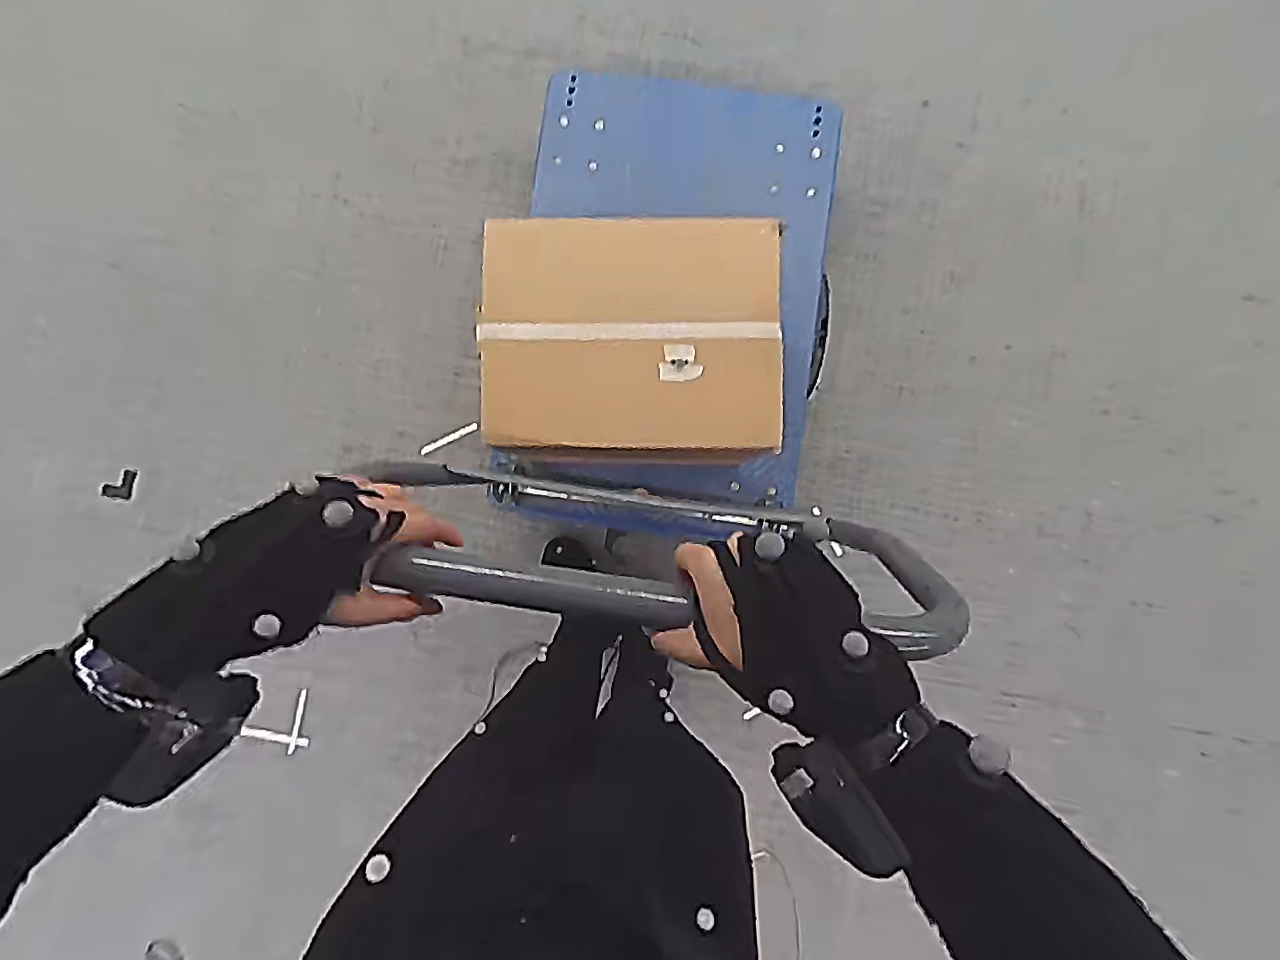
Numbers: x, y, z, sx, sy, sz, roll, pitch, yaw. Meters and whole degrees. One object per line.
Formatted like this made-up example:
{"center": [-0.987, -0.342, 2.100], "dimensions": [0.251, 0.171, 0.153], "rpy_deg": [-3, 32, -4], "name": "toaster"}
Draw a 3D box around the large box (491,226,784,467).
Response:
{"center": [-0.006, -0.188, 0.884], "dimensions": [0.408, 0.320, 0.320], "rpy_deg": [0, 88, 0], "name": "large box"}
